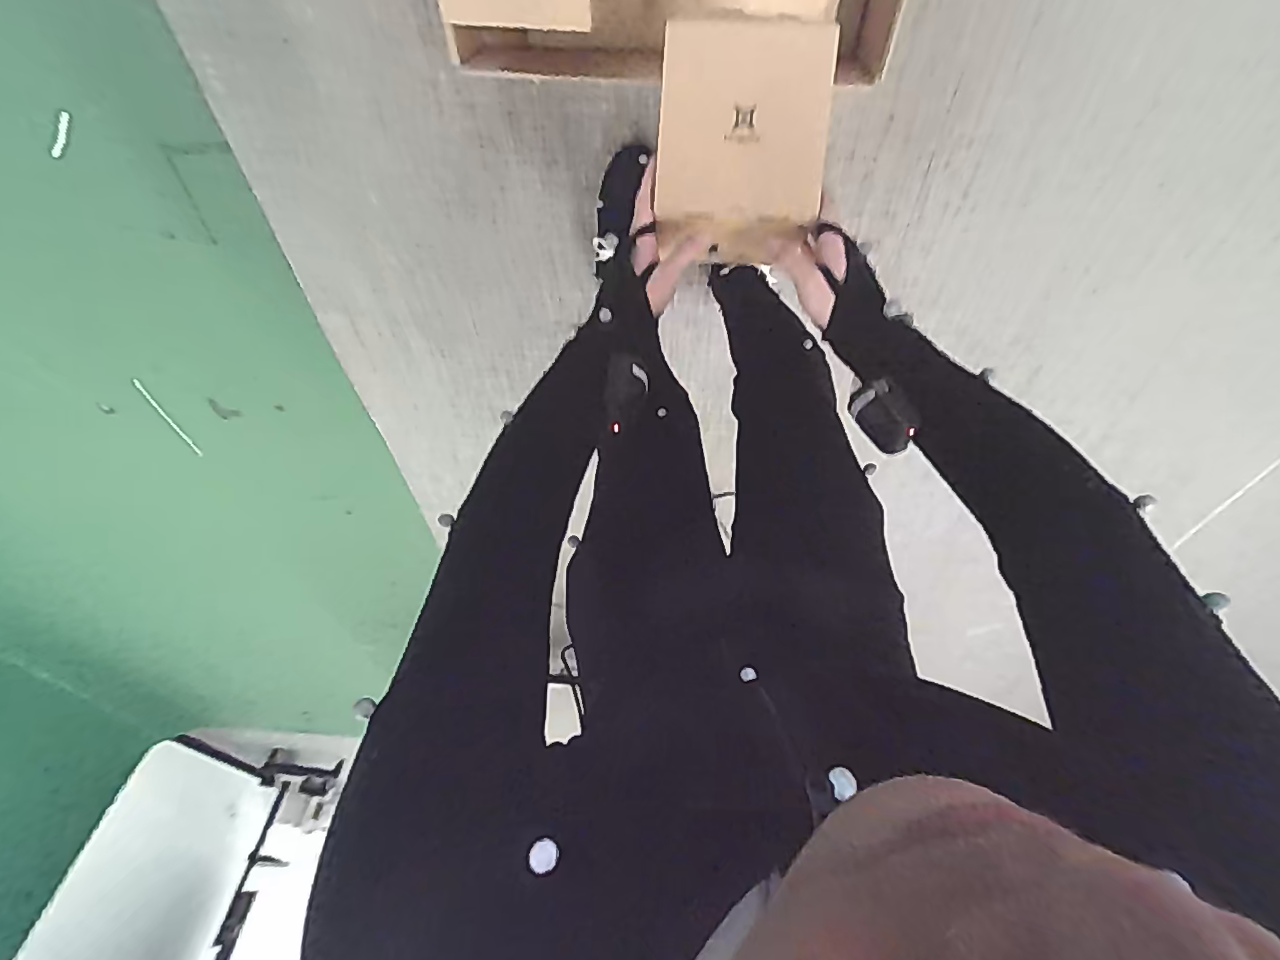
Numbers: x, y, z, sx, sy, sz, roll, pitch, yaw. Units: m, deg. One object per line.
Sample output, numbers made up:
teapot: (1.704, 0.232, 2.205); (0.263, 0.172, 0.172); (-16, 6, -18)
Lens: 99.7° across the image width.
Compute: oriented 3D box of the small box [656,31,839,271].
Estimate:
small box: (0.105, -0.346, 0.600); (0.168, 0.176, 0.179); (3, 99, 3)

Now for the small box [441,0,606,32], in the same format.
small box: (-0.122, -0.609, 0.575); (0.168, 0.176, 0.179); (4, 139, 0)
